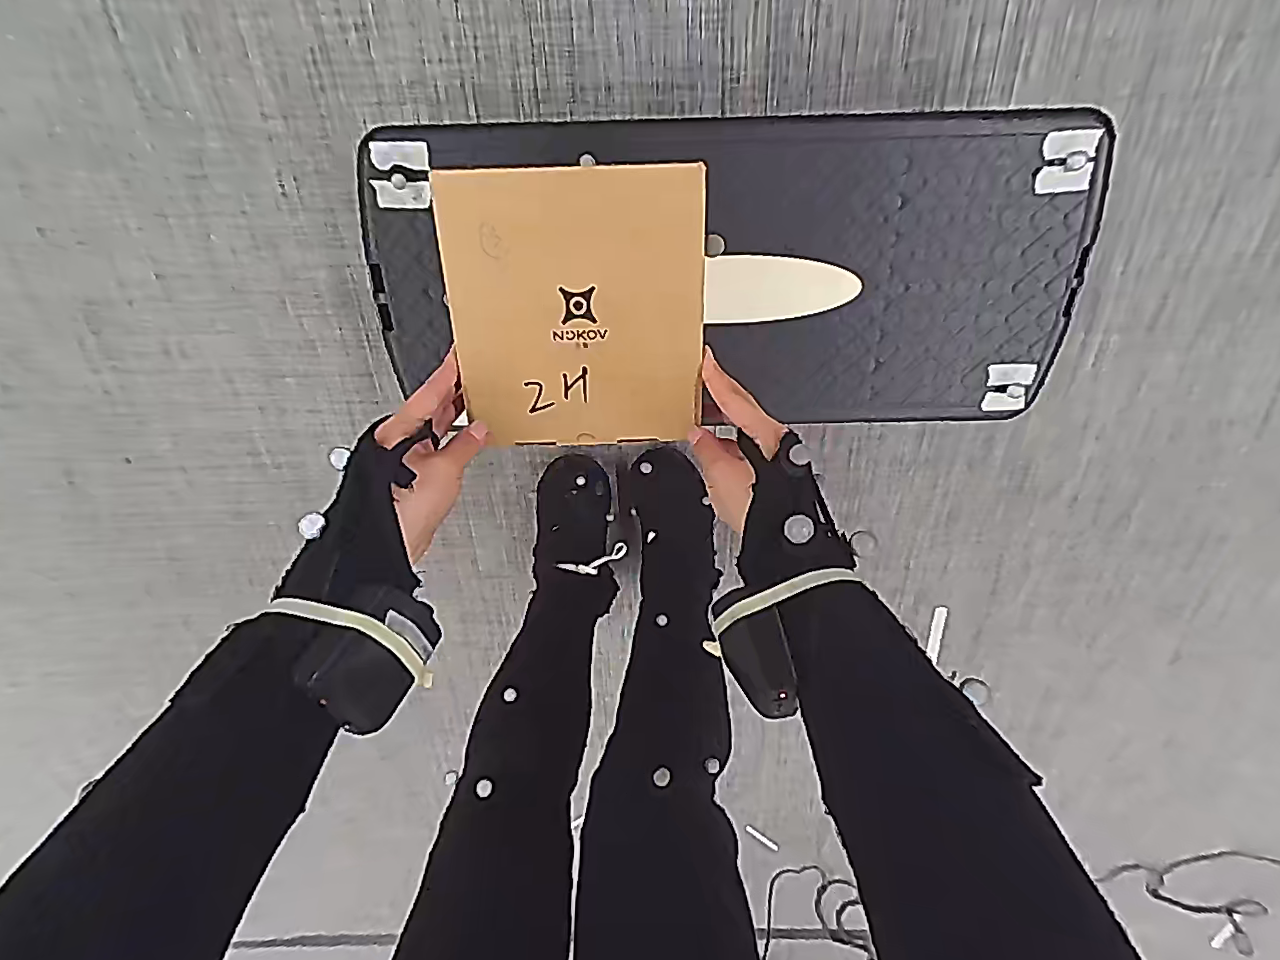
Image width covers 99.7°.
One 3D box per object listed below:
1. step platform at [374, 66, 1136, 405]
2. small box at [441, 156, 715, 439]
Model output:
[{"bbox_3d":[0.096,-0.240,0.573,0.684,0.204,0.286,-1,115,1],"label":"step platform"},{"bbox_3d":[-0.038,-0.142,0.426,0.168,0.176,0.179,-1,115,0],"label":"small box"}]
